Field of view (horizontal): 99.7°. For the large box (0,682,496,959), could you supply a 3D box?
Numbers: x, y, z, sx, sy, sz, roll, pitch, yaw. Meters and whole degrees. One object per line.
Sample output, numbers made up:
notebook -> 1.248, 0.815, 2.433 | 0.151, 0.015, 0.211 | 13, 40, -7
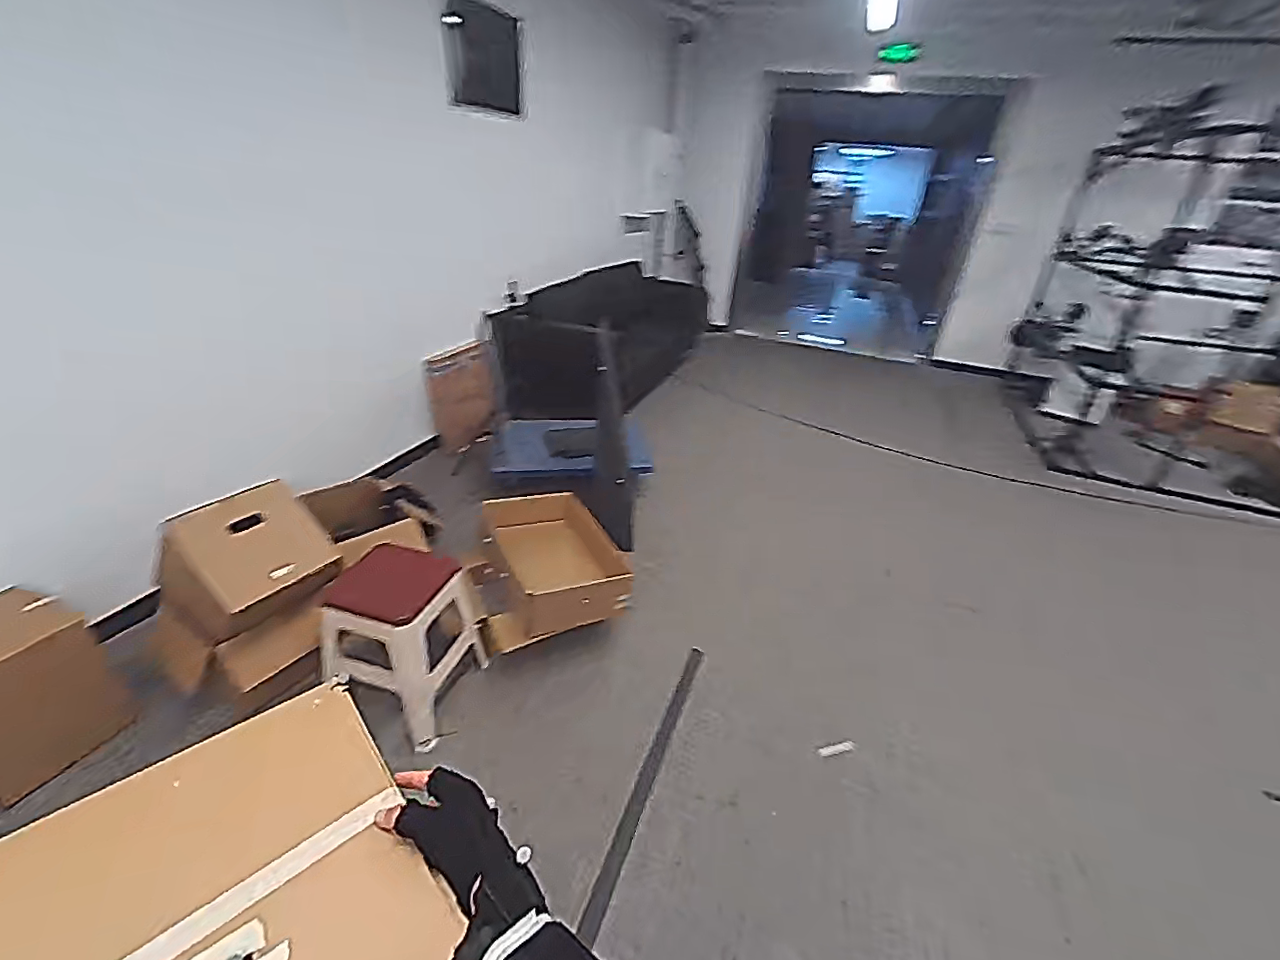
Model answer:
large box -> -0.382, 0.475, 0.473 | 0.408, 0.320, 0.320 | -20, 46, -38
